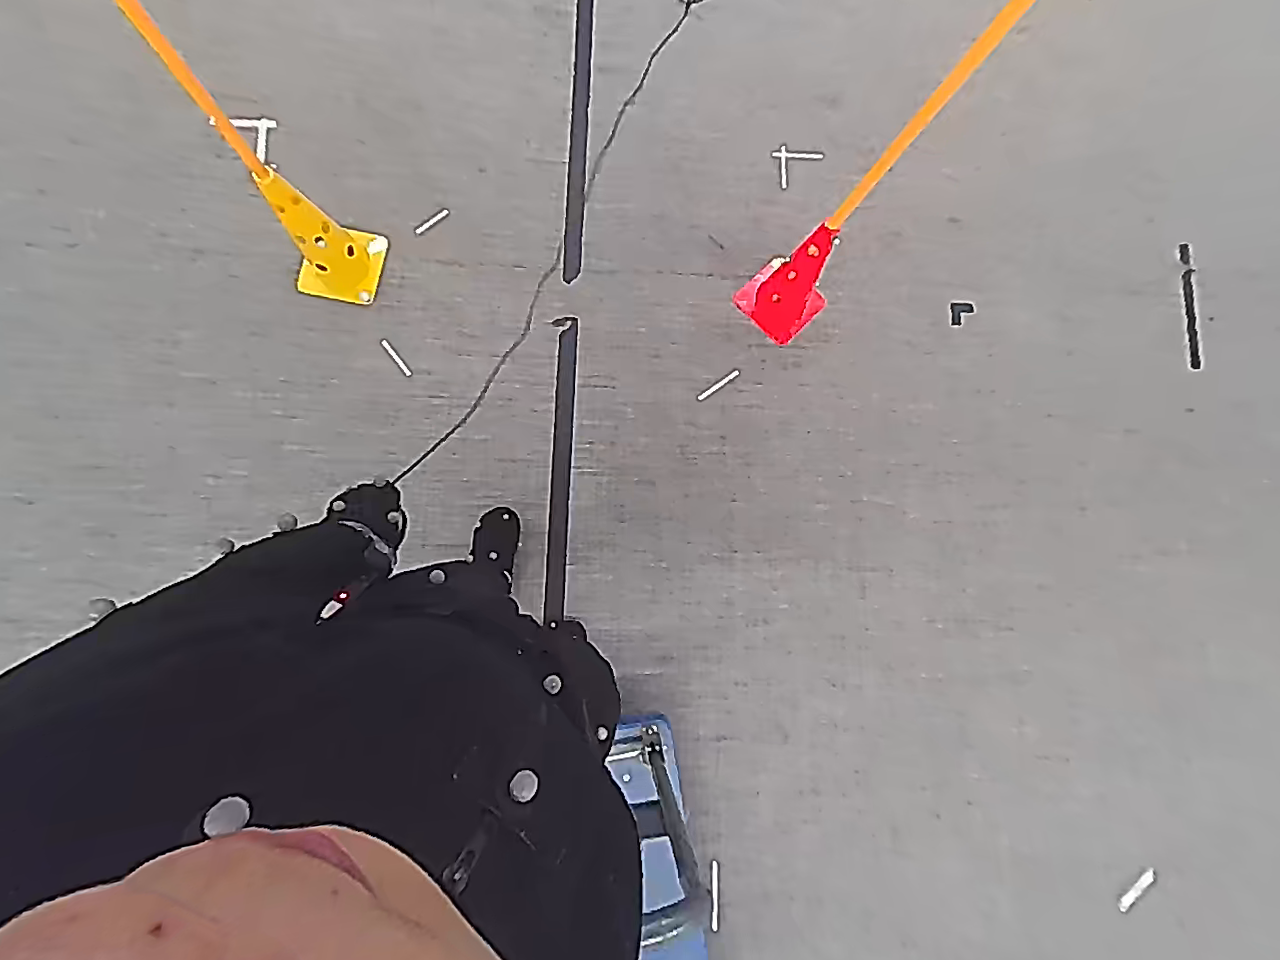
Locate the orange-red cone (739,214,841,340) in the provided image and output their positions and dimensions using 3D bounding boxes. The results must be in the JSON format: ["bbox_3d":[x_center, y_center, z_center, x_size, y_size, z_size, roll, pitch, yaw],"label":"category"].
[{"bbox_3d":[0.410,-0.533,1.341,0.199,0.360,0.198,-43,86,-7],"label":"orange-red cone"}]
